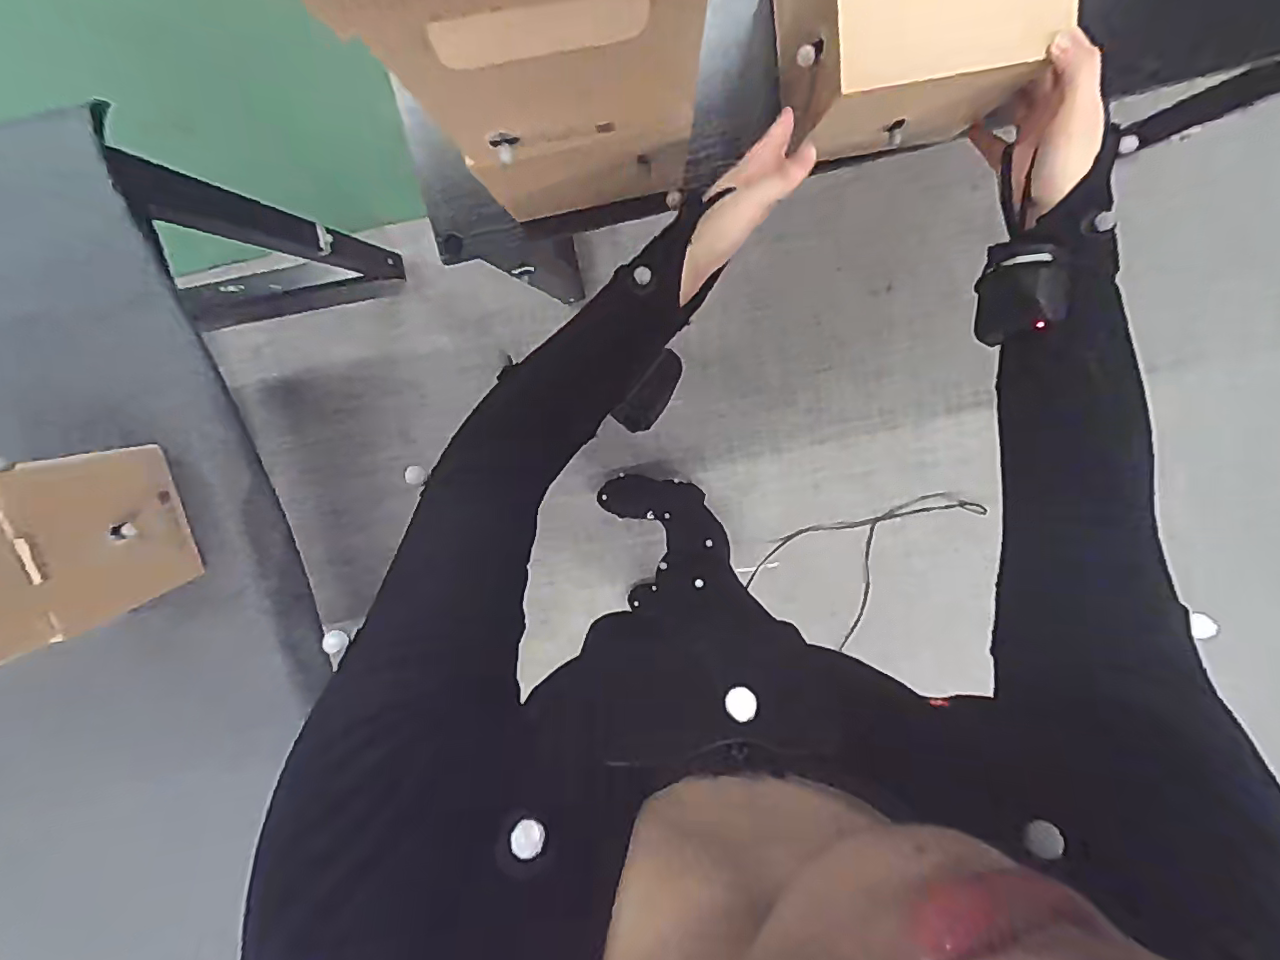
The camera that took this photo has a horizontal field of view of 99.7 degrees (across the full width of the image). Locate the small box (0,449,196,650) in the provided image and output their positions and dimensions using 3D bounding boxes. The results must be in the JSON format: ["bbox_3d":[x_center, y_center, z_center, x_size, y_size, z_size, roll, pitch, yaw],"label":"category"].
[{"bbox_3d":[-0.627,0.069,0.576,0.179,0.176,0.168,-8,103,5],"label":"small box"}]

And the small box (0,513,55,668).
[{"bbox_3d":[-0.638,0.098,0.415,0.168,0.176,0.179,-9,104,6],"label":"small box"}]

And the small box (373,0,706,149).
[{"bbox_3d":[-0.055,-0.312,0.302,0.168,0.176,0.179,-9,102,2],"label":"small box"}]
